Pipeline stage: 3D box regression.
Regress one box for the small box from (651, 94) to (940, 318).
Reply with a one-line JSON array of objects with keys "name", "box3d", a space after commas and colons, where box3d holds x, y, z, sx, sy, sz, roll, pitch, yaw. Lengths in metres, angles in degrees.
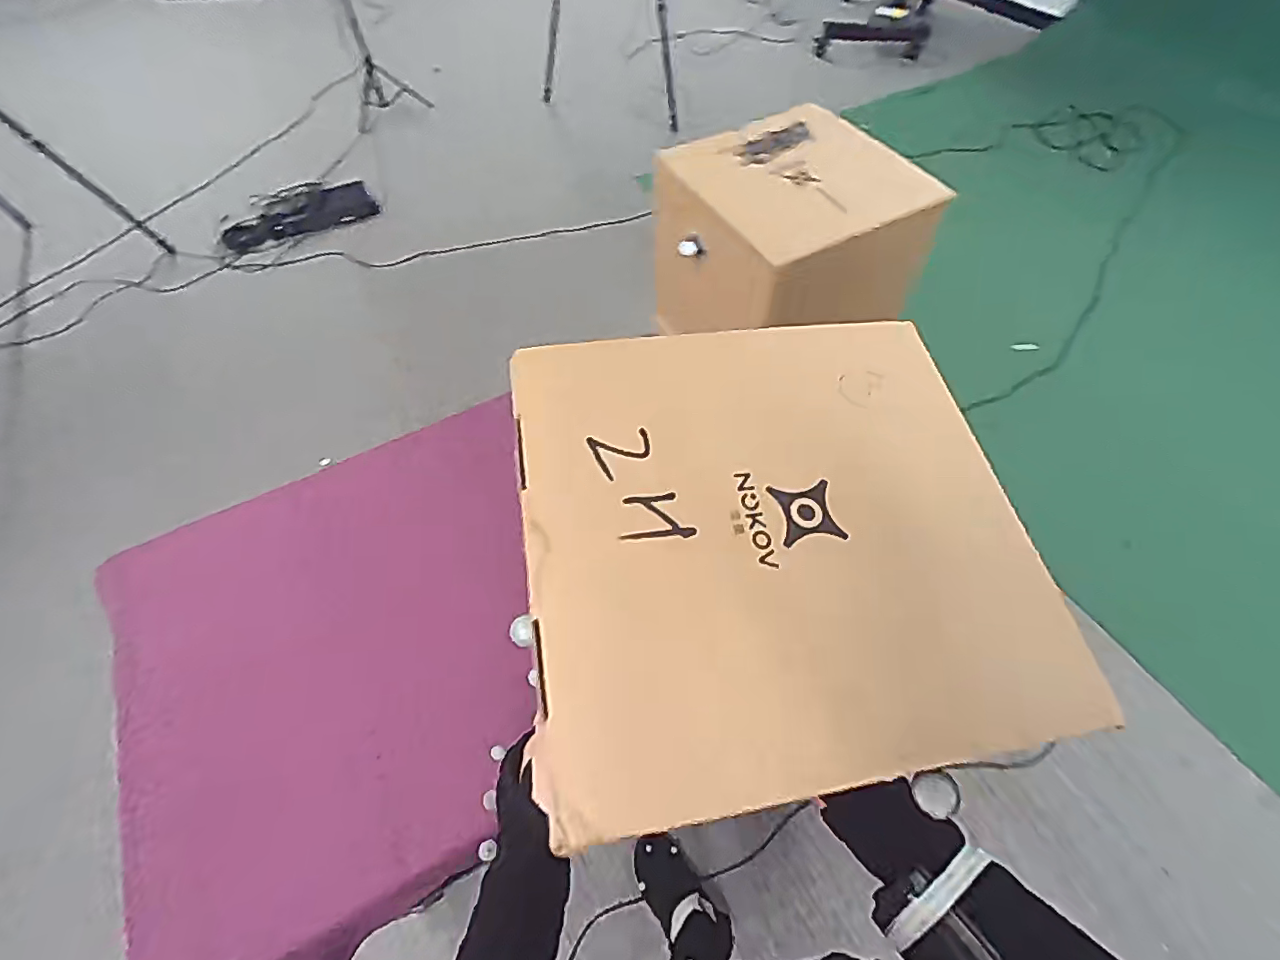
[{"name": "small box", "box3d": [0.121, -0.212, 0.501, 0.168, 0.176, 0.179, -26, 61, -13]}]
